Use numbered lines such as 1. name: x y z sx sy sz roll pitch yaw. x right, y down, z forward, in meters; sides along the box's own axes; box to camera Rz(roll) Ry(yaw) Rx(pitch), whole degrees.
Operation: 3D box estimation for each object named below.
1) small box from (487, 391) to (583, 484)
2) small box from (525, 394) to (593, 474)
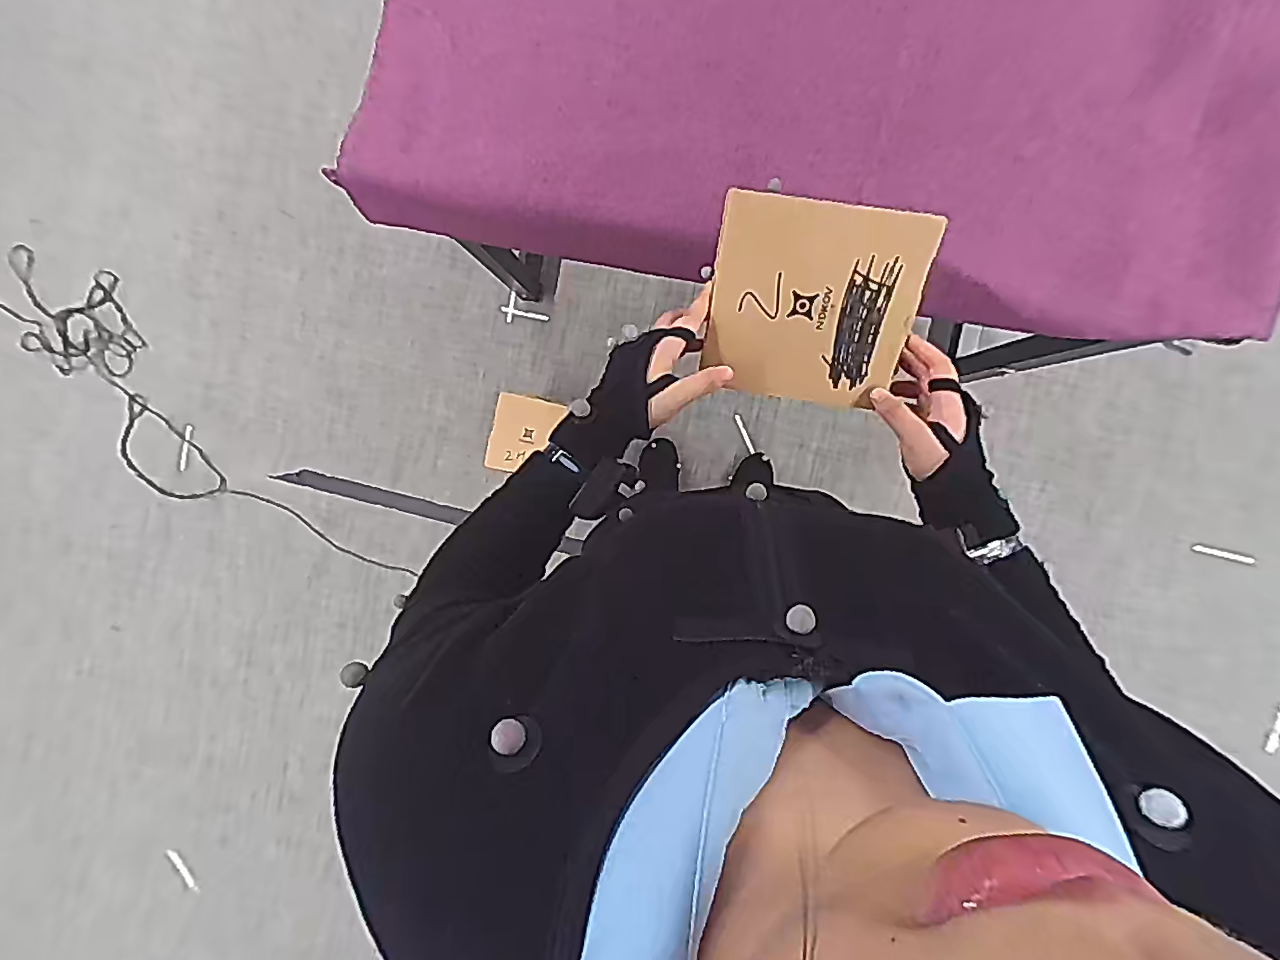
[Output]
1. small box: -0.237 -0.098 1.269 0.168 0.176 0.179 14 95 3
2. small box: -0.233 -0.115 1.433 0.168 0.176 0.179 19 95 2
